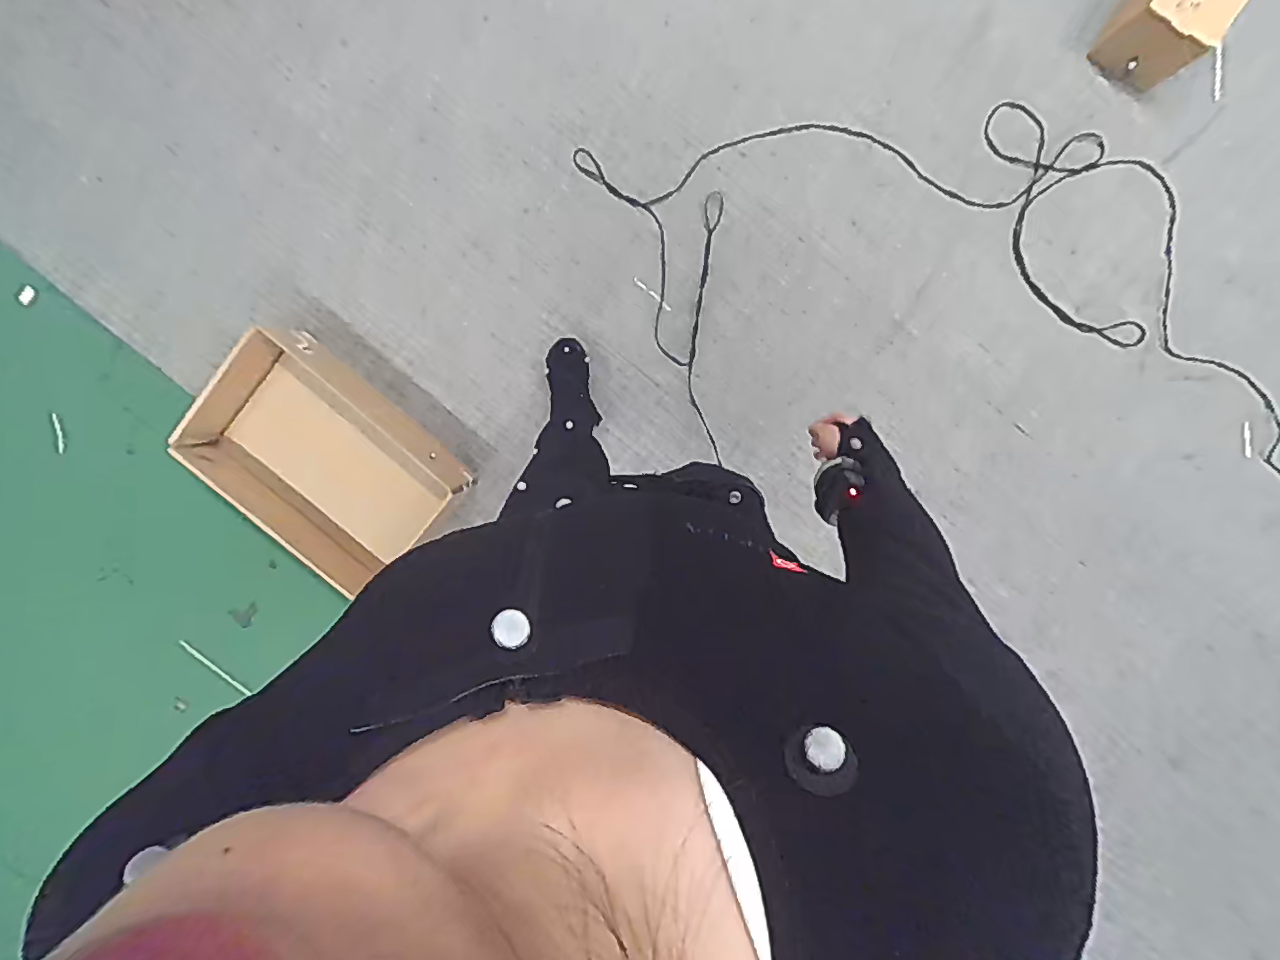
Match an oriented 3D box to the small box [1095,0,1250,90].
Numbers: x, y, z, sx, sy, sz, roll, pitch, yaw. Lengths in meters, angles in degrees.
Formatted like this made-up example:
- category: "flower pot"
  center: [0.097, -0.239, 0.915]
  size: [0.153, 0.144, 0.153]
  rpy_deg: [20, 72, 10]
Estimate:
- category: "small box"
  center: [1.151, -1.005, 1.164]
  size: [0.168, 0.176, 0.179]
  rpy_deg: [30, 100, -2]
